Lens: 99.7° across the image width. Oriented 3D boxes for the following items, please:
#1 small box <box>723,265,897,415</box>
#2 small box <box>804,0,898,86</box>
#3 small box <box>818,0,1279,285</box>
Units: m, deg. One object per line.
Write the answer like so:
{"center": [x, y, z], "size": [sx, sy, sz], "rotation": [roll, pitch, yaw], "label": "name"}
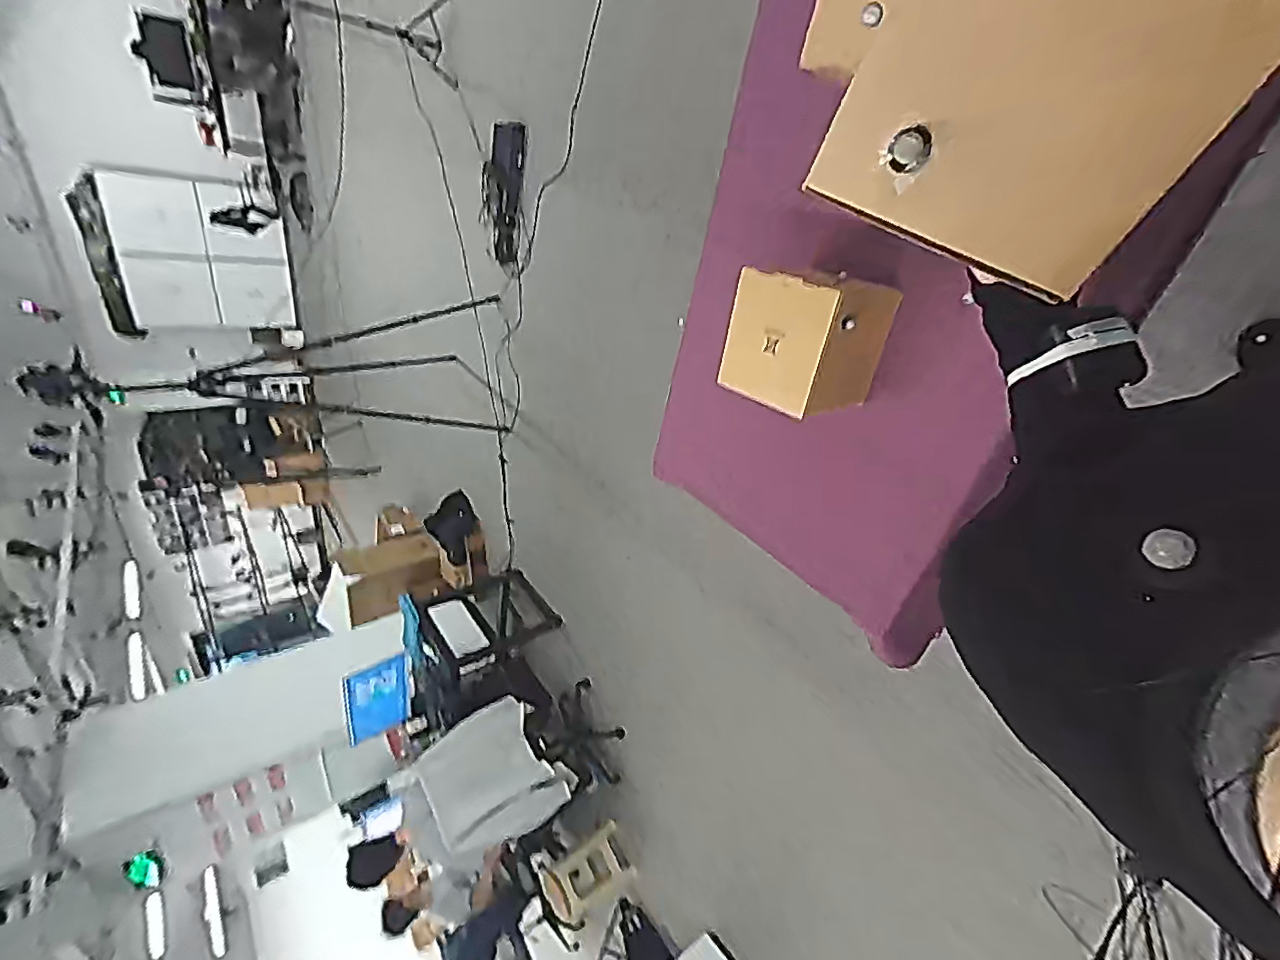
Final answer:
{"center": [0.255, -0.216, 0.817], "size": [0.168, 0.176, 0.179], "rotation": [35, 126, 41], "label": "small box"}
{"center": [0.326, -0.550, 0.616], "size": [0.168, 0.176, 0.179], "rotation": [40, 130, 36], "label": "small box"}
{"center": [0.238, -0.257, 0.334], "size": [0.179, 0.168, 0.176], "rotation": [26, 134, 5], "label": "small box"}
